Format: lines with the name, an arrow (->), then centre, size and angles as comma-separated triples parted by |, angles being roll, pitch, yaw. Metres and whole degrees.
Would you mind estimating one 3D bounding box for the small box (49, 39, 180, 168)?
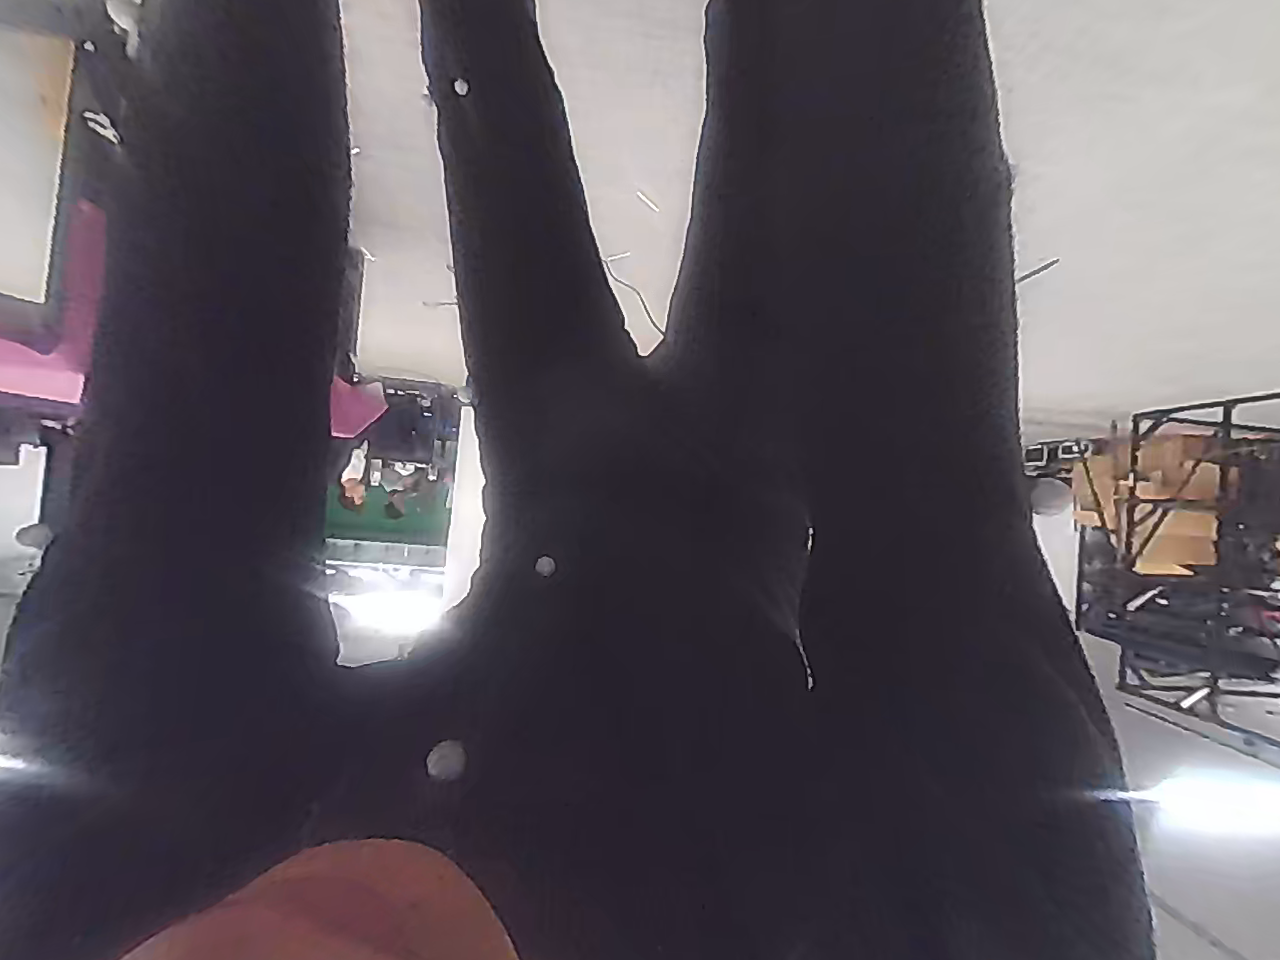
small box -> -1.212, -0.867, 1.257 | 0.179, 0.176, 0.168 | 4, 179, 24
